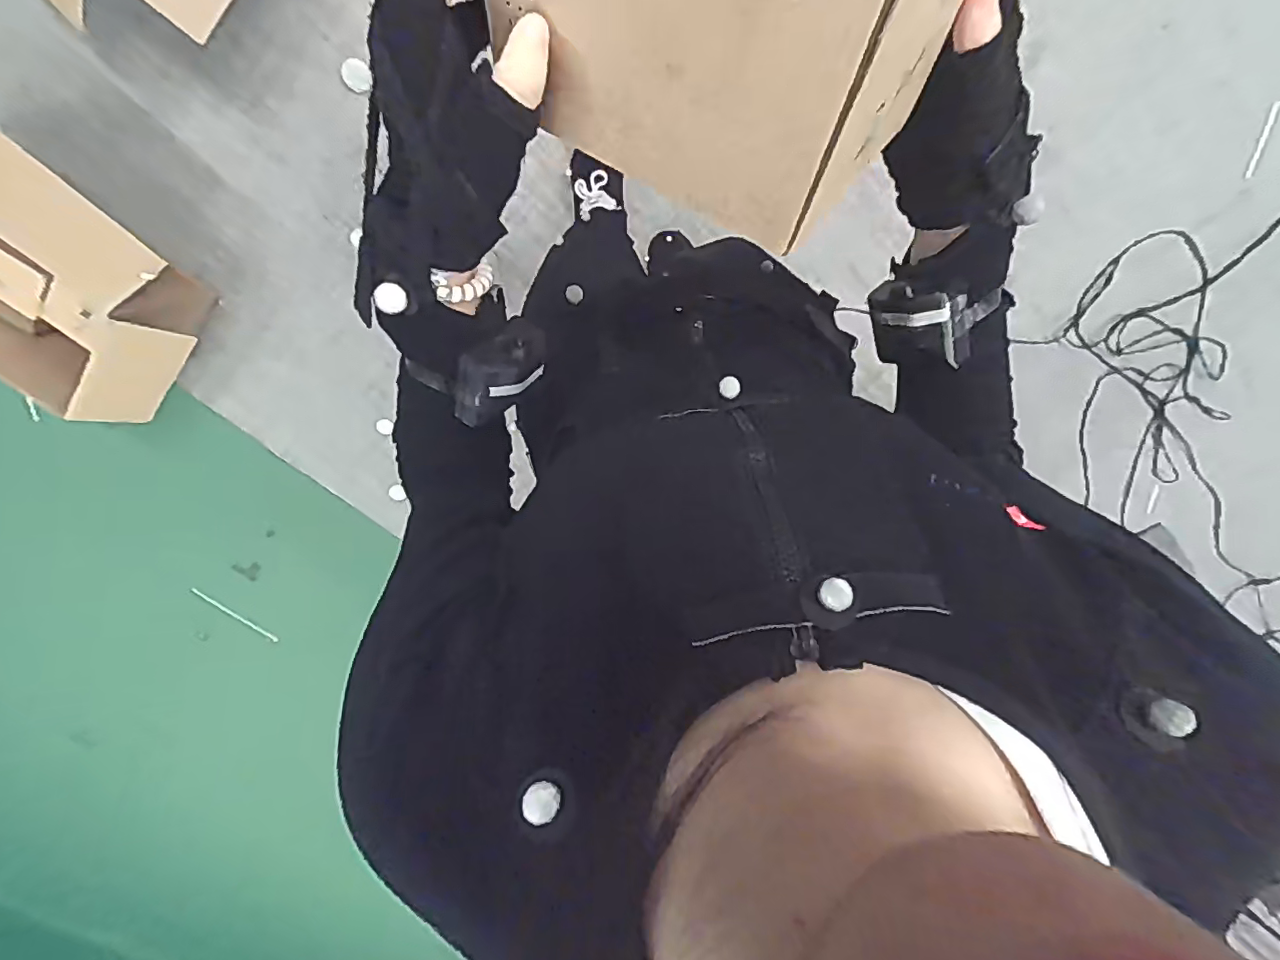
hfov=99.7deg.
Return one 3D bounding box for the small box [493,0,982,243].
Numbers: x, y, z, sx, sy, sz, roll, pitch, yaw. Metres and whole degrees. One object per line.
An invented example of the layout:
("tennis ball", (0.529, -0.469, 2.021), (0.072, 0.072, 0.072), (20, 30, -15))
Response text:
("small box", (0.052, -0.238, 0.207), (0.176, 0.168, 0.179), (35, 154, 13))
